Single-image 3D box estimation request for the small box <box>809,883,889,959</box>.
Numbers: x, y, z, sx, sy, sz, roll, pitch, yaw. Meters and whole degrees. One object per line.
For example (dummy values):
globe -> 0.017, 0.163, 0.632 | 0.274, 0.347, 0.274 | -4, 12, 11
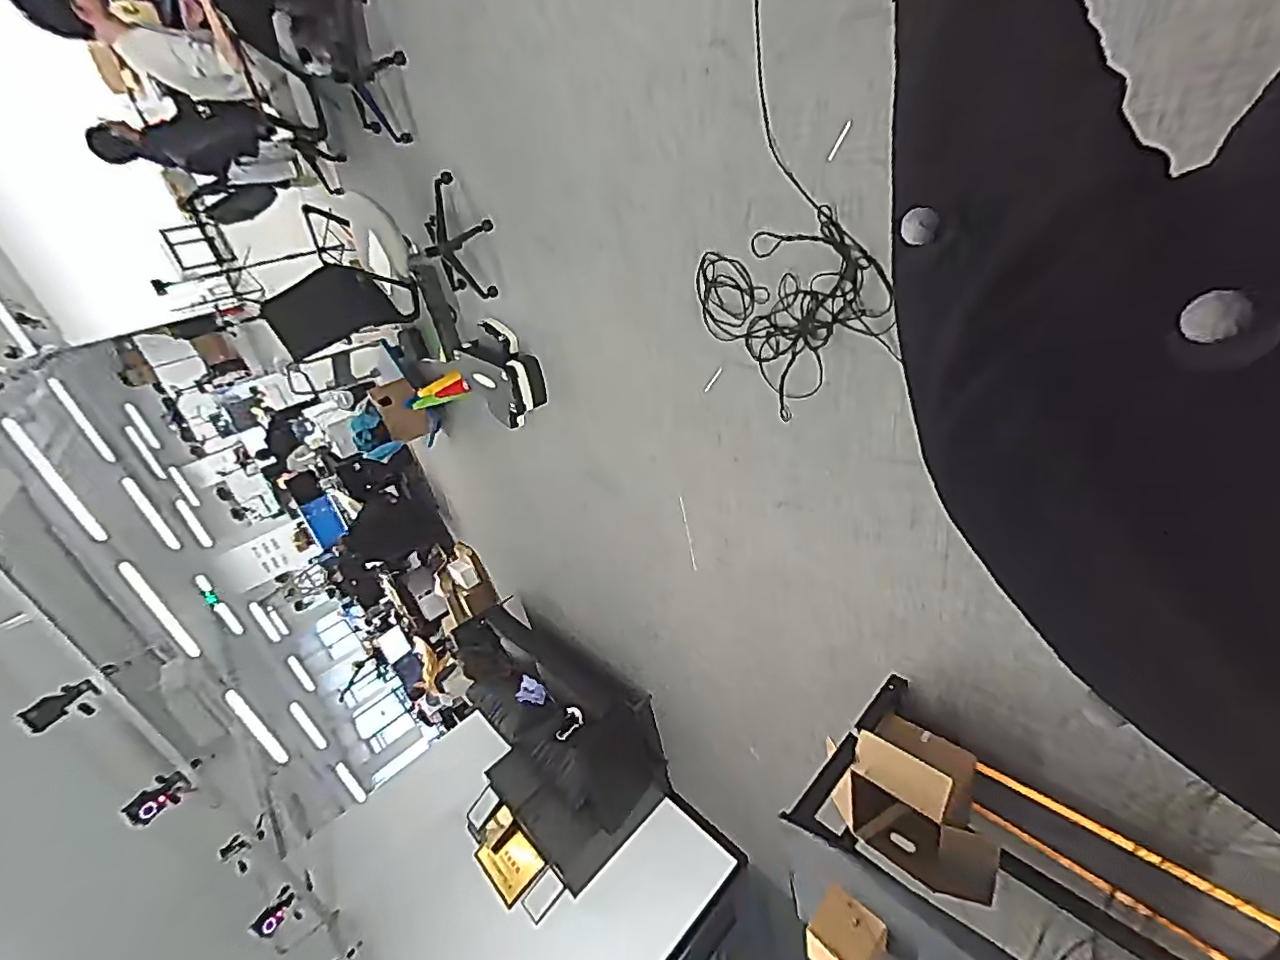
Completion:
small box -> 0.627, 1.371, 1.615 | 0.168, 0.176, 0.179 | 19, 131, 45
